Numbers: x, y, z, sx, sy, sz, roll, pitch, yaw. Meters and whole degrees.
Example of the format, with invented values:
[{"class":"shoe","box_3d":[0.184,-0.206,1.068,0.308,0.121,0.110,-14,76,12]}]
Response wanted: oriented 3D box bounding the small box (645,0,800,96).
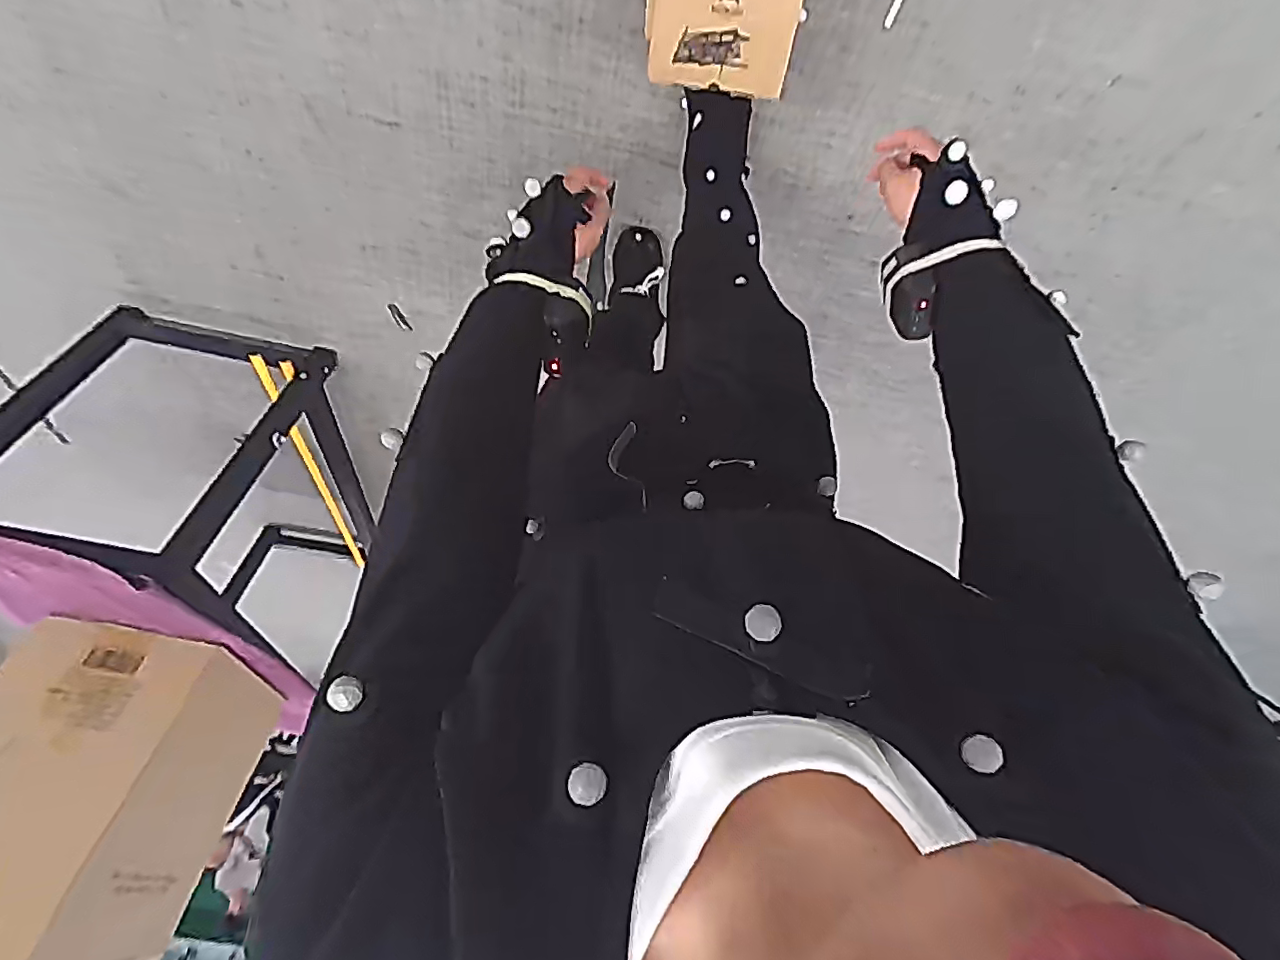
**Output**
[{"class":"small box","box_3d":[0.104,-0.598,0.644,0.168,0.176,0.179,8,142,-1]}]
